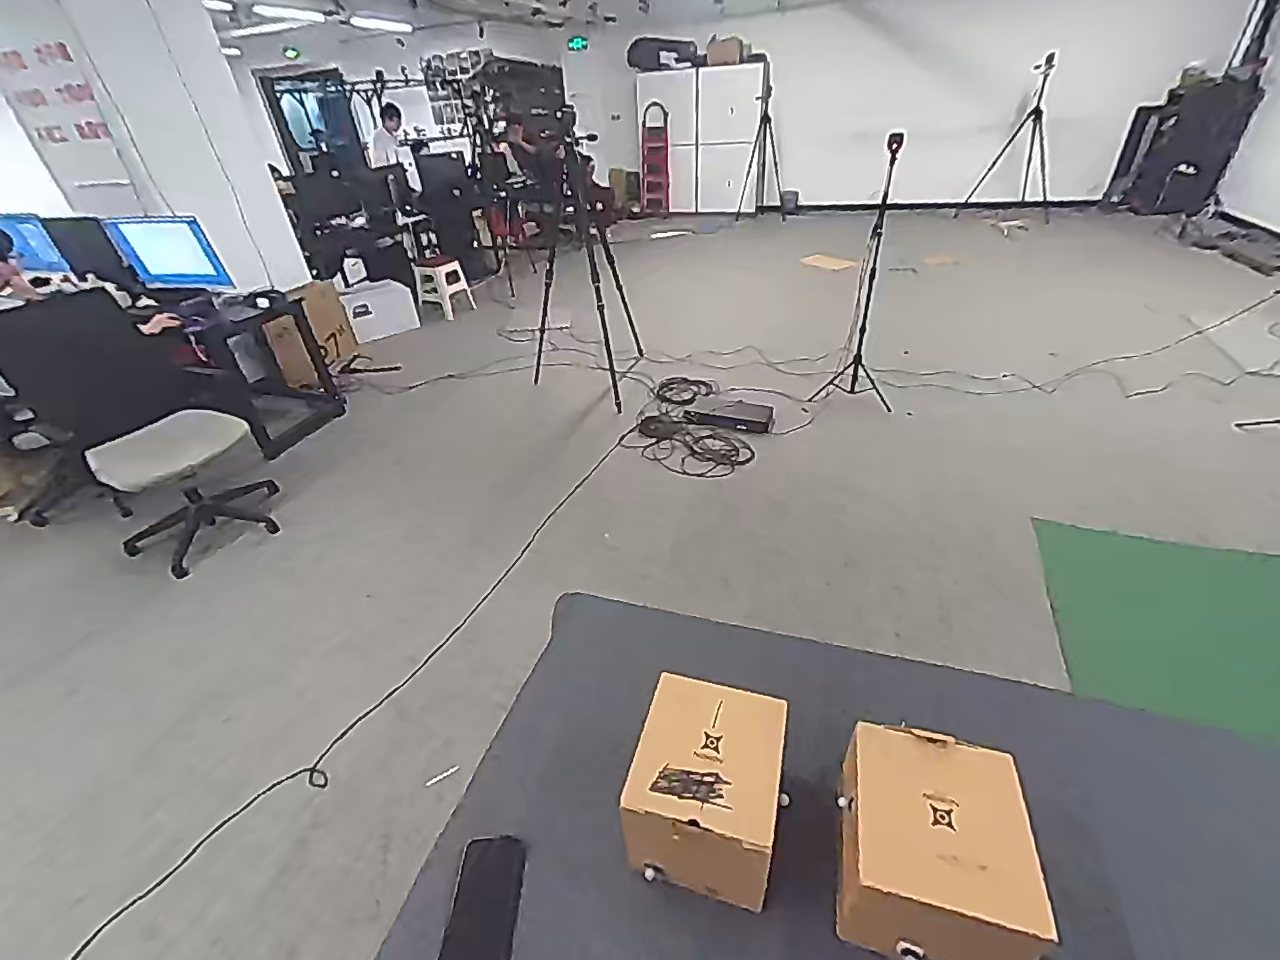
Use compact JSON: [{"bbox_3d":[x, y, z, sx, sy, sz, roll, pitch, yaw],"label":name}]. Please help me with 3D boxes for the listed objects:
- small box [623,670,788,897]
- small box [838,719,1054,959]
[{"bbox_3d":[0.088,0.378,0.682,0.168,0.176,0.179,8,35,16],"label":"small box"},{"bbox_3d":[0.322,0.413,0.615,0.168,0.176,0.179,6,37,16],"label":"small box"}]
